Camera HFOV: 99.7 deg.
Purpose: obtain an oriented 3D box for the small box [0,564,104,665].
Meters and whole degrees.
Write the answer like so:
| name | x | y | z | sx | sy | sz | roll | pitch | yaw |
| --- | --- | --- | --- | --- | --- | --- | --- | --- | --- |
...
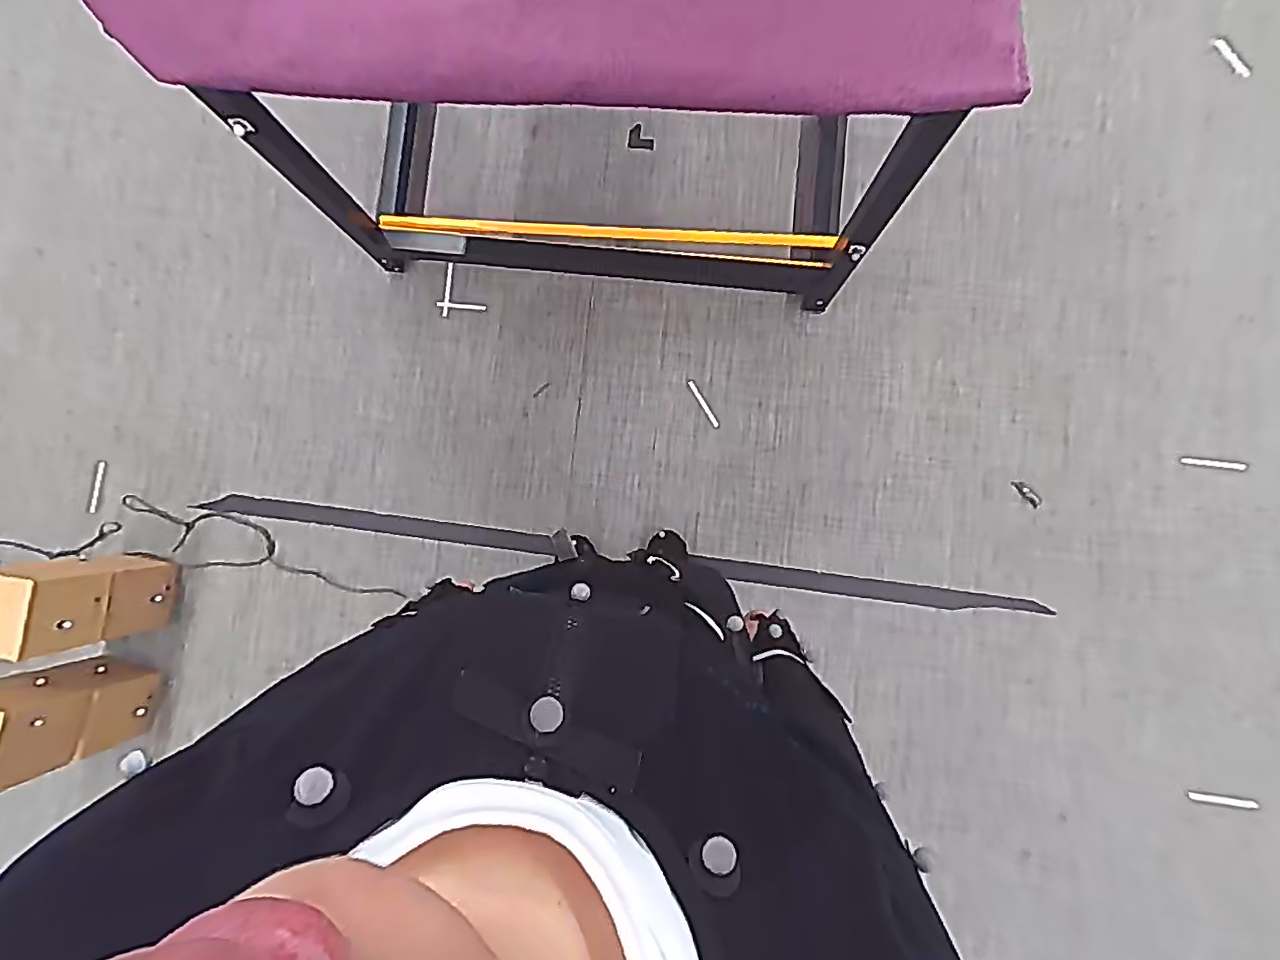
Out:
| name | x | y | z | sx | sy | sz | roll | pitch | yaw |
| --- | --- | --- | --- | --- | --- | --- | --- | --- | --- |
| small box | -1.311 | 0.277 | 1.148 | 0.179 | 0.176 | 0.168 | 8 | 87 | 3 |

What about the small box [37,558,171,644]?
| name | x | y | z | sx | sy | sz | roll | pitch | yaw |
| --- | --- | --- | --- | --- | --- | --- | --- | --- | --- |
| small box | -1.305 | 0.285 | 1.311 | 0.179 | 0.176 | 0.168 | 8 | 87 | 2 |

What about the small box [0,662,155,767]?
| name | x | y | z | sx | sy | sz | roll | pitch | yaw |
| --- | --- | --- | --- | --- | --- | --- | --- | --- | --- |
| small box | -1.333 | 0.548 | 1.291 | 0.179 | 0.176 | 0.168 | 13 | 86 | 2 |
